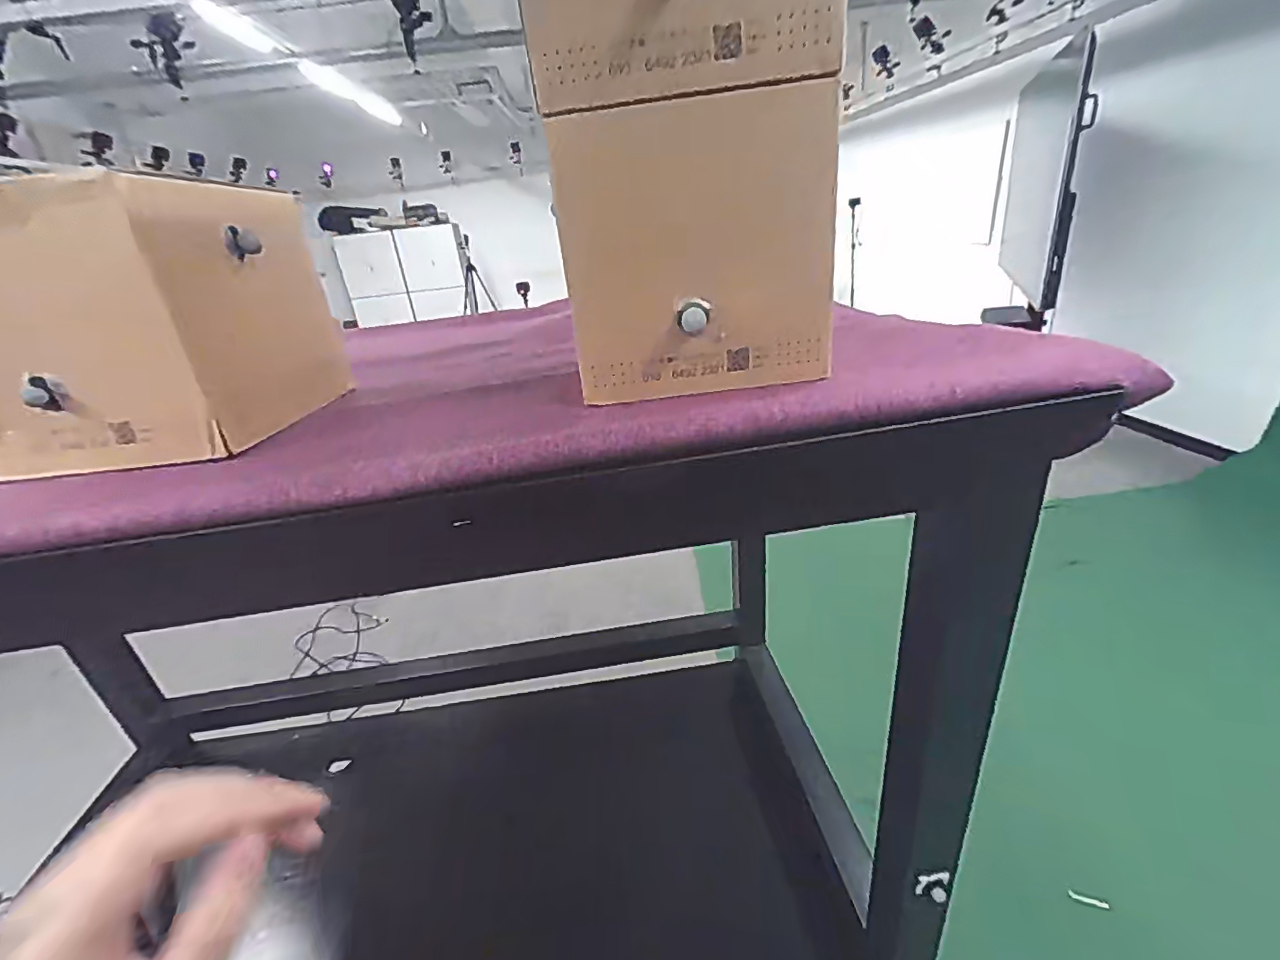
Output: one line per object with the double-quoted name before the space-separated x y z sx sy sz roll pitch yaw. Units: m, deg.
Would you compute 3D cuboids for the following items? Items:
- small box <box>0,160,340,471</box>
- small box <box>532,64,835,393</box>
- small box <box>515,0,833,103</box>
"small box" -0.352 -0.118 0.394 0.168 0.176 0.179 -6 25 2
"small box" 0.031 -0.172 0.396 0.168 0.176 0.179 -7 26 3
"small box" 0.011 -0.320 0.327 0.168 0.176 0.179 -7 26 3
